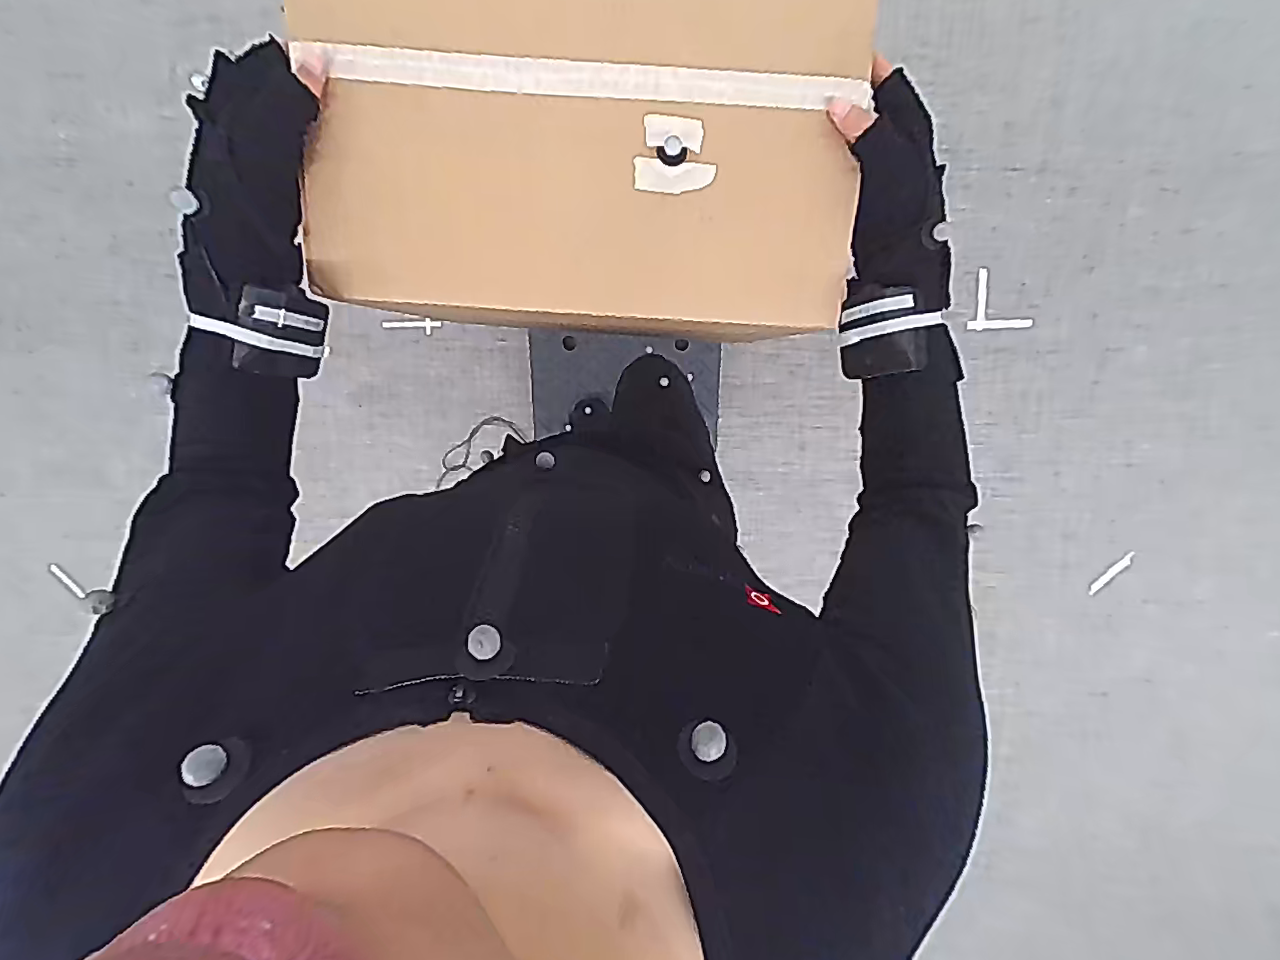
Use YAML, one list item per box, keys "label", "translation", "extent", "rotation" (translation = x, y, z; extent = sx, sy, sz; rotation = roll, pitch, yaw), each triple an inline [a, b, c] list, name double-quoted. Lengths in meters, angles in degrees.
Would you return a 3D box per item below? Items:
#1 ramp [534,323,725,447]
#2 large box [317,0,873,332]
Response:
- label: "ramp"
  translation: [-0.025, -0.564, 1.320]
  extent: [0.509, 0.206, 0.991]
  rotation: [-2, 98, -1]
- label: "large box"
  translation: [-0.038, -0.324, 0.541]
  extent: [0.408, 0.320, 0.320]
  rotation: [3, 103, -2]
